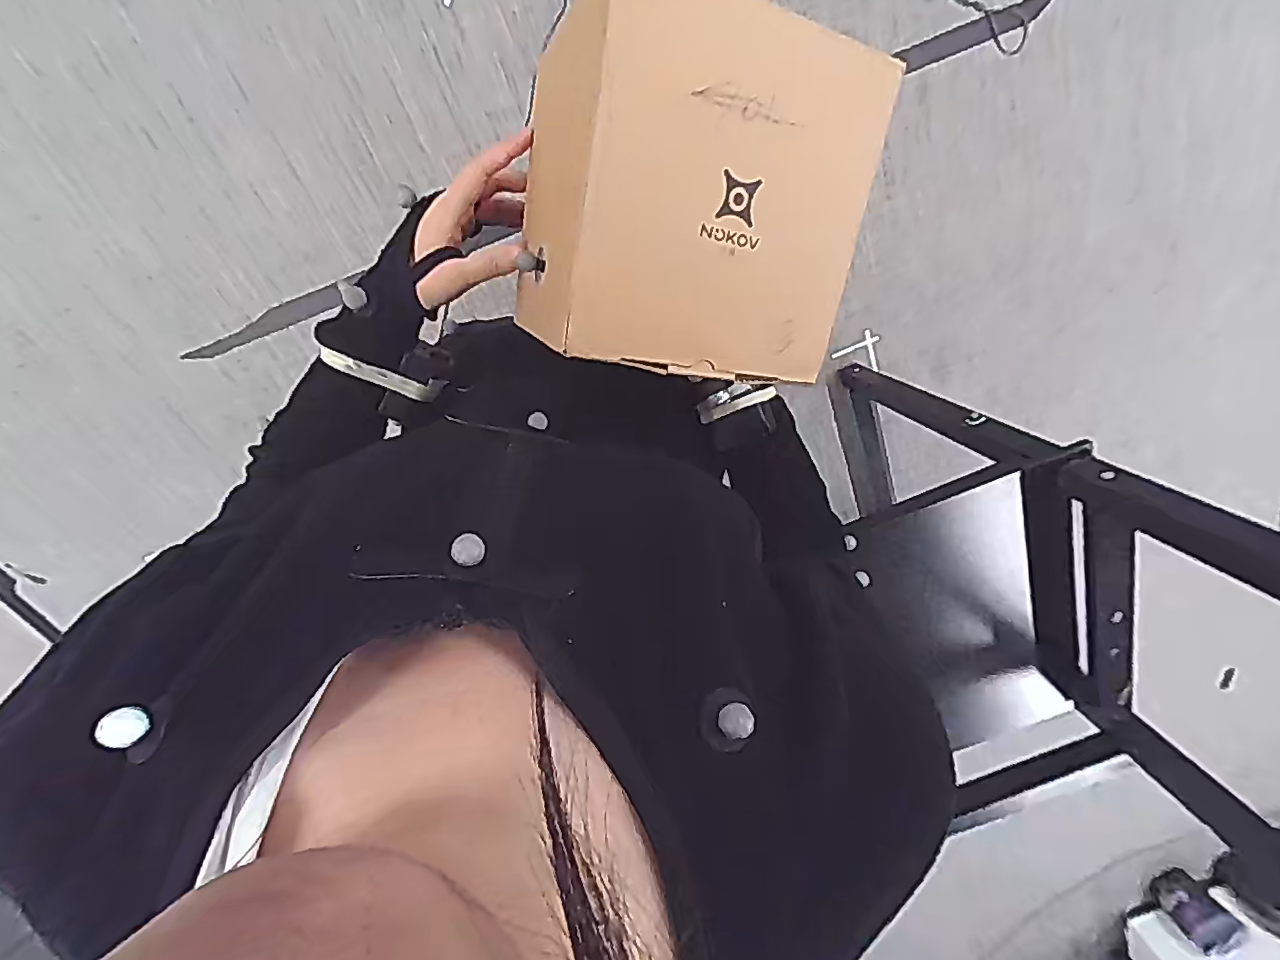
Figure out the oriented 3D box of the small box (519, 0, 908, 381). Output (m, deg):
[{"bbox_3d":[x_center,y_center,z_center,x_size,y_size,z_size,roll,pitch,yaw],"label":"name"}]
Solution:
[{"bbox_3d":[0.023,-0.173,0.345,0.168,0.176,0.179,2,110,-24],"label":"small box"}]
